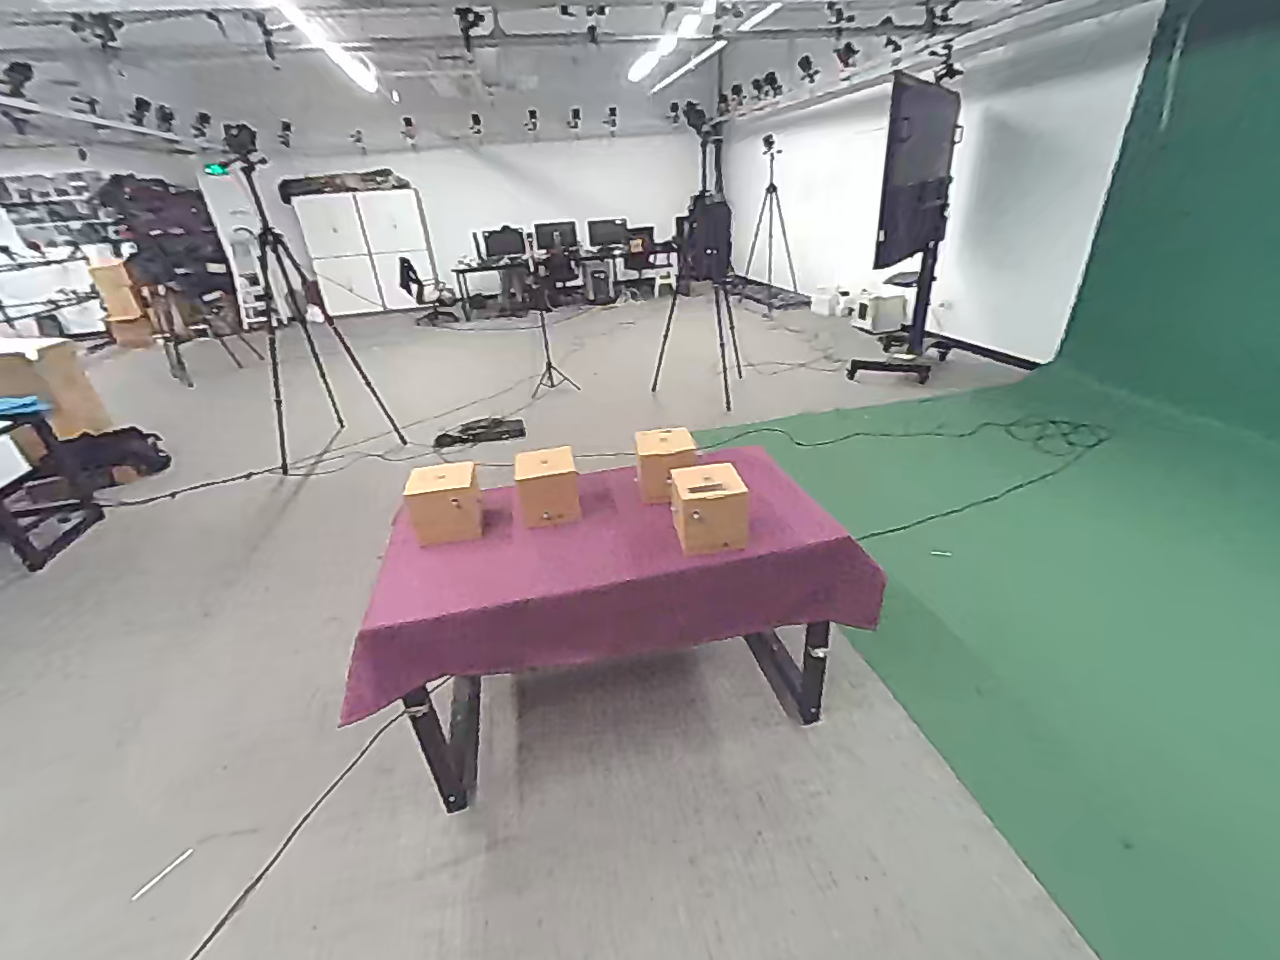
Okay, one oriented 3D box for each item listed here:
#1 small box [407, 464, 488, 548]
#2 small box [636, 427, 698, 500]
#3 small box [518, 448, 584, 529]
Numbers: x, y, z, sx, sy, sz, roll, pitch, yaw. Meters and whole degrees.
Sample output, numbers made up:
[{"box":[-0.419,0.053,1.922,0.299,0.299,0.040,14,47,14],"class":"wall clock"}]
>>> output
[{"box":[-0.541,0.074,1.549,0.179,0.176,0.168,-9,28,-7],"class":"small box"},{"box":[0.083,-0.046,1.660,0.168,0.176,0.179,-6,29,-2],"class":"small box"},{"box":[-0.262,0.024,1.597,0.168,0.176,0.179,-10,29,-7],"class":"small box"}]
